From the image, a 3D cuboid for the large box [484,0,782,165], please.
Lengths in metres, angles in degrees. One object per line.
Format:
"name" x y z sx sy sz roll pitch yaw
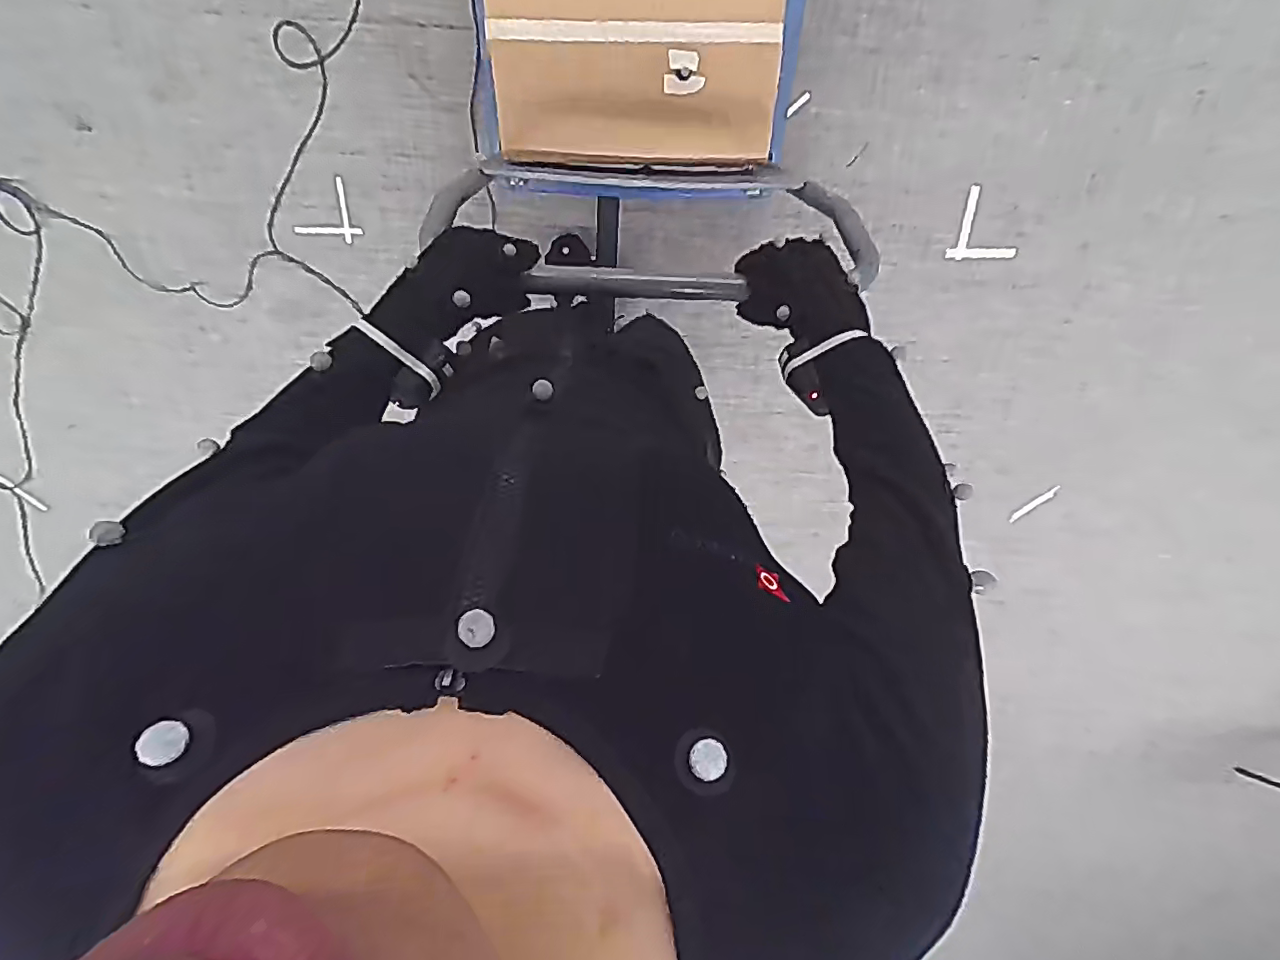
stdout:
"large box" -0.015 -0.690 0.857 0.408 0.320 0.320 -1 124 -3
